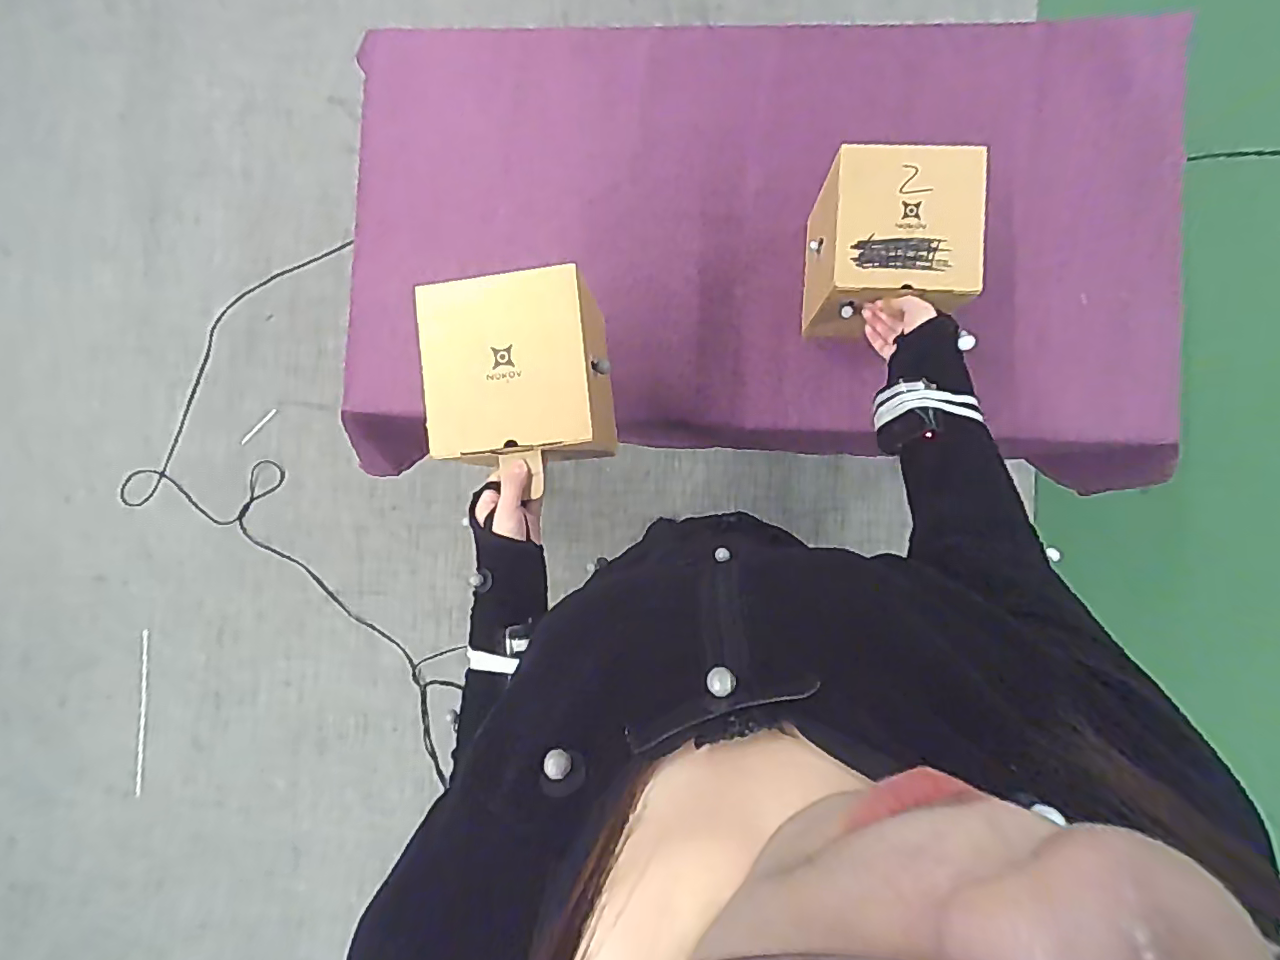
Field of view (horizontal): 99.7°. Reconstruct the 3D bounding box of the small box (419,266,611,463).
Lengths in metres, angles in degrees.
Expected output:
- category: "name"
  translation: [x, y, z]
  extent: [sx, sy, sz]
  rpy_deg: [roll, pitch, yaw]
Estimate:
- category: "small box"
  translation: [-0.131, -0.118, 0.621]
  extent: [0.168, 0.176, 0.179]
  rpy_deg: [-6, 88, 5]
